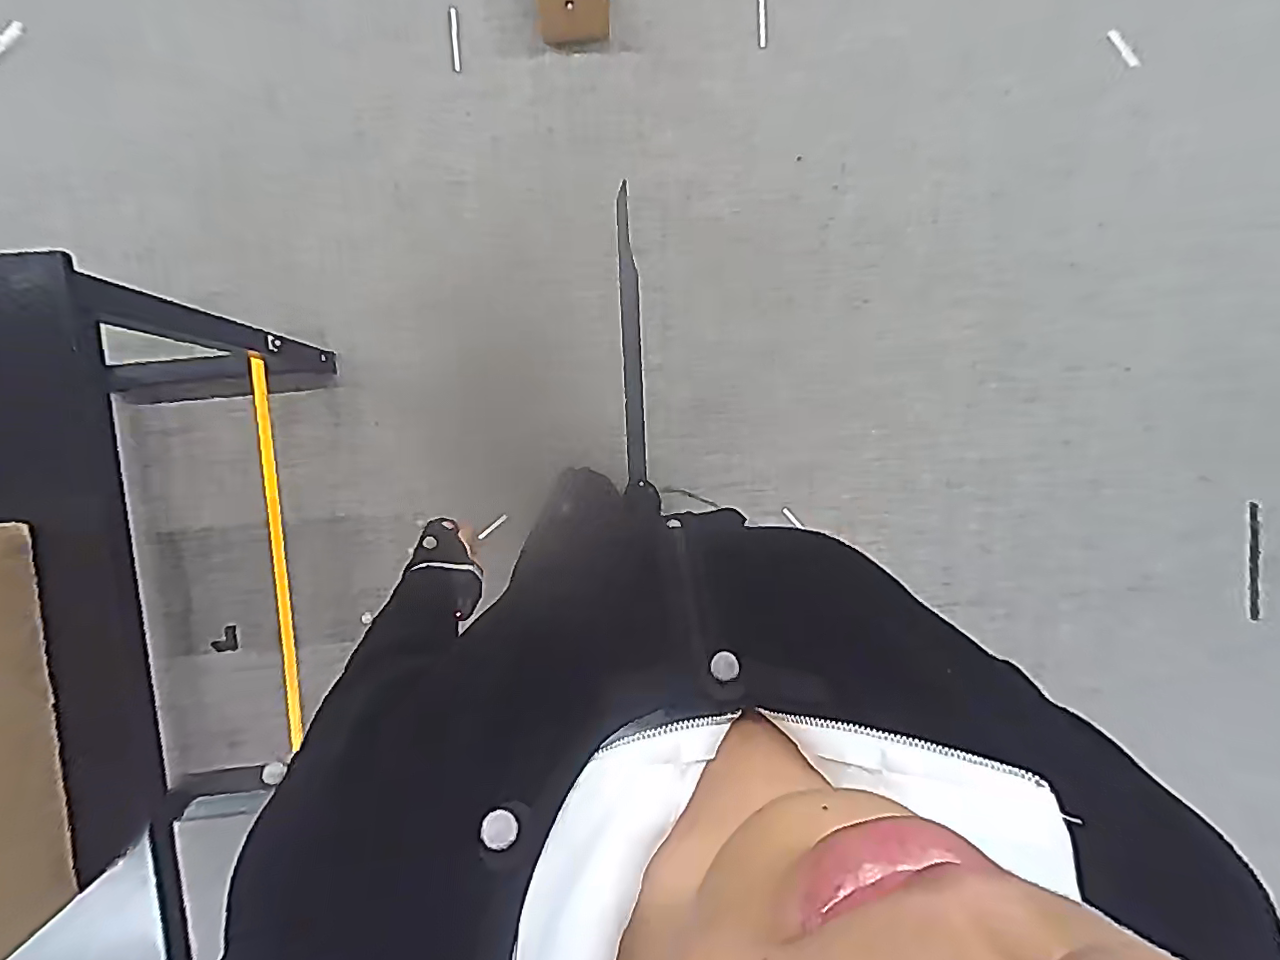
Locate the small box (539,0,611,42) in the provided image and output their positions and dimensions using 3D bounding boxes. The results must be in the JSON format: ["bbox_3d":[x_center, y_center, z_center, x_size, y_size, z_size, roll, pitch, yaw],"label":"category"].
[{"bbox_3d":[-0.163,-1.204,1.306,0.179,0.176,0.168,-8,95,-4],"label":"small box"}]
